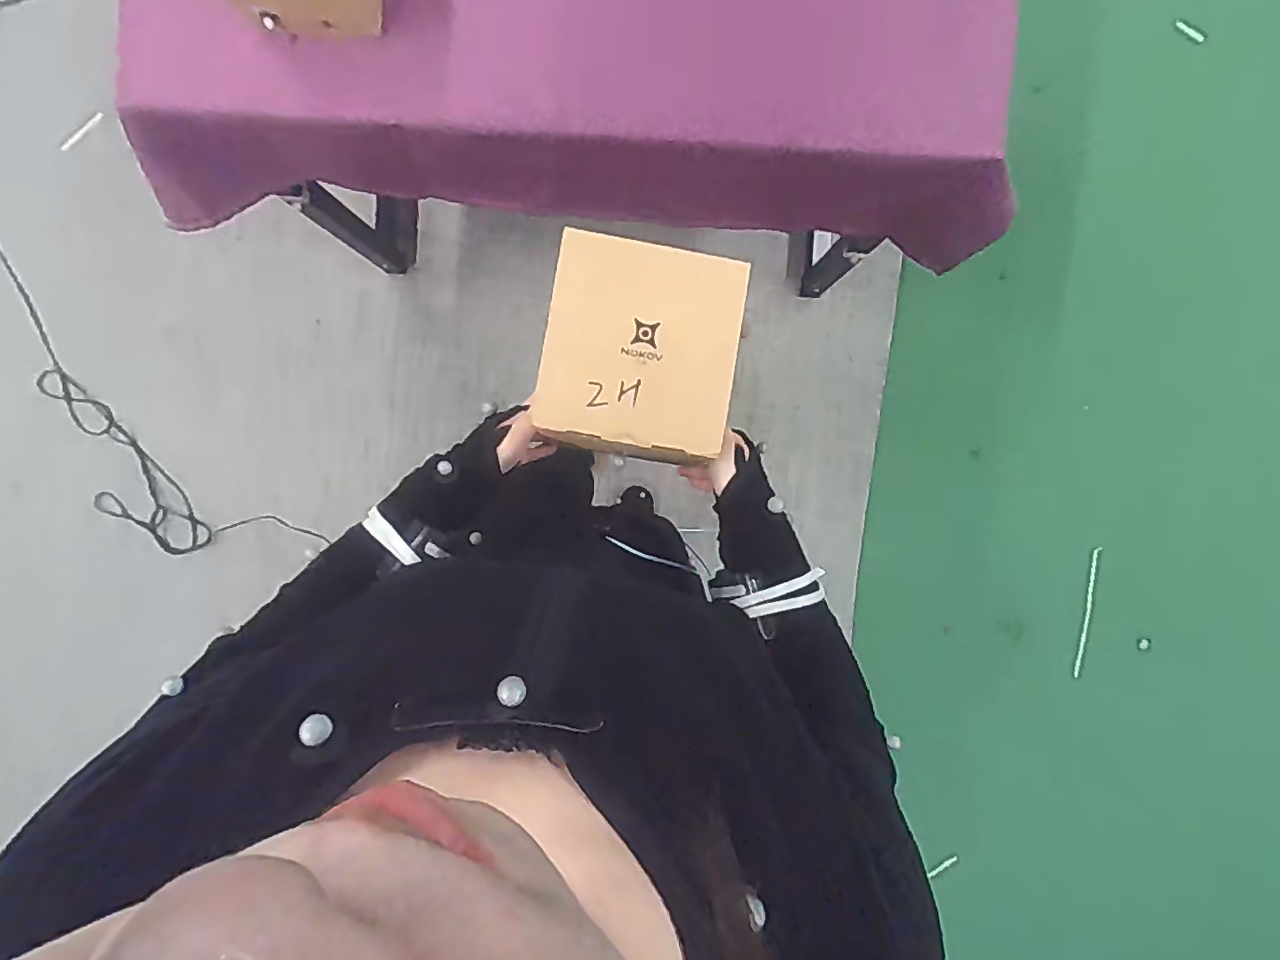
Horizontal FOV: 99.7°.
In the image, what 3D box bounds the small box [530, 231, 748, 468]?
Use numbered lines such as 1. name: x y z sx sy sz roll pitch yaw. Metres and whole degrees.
1. small box: -0.004 -0.113 0.544 0.168 0.176 0.179 10 88 -3
